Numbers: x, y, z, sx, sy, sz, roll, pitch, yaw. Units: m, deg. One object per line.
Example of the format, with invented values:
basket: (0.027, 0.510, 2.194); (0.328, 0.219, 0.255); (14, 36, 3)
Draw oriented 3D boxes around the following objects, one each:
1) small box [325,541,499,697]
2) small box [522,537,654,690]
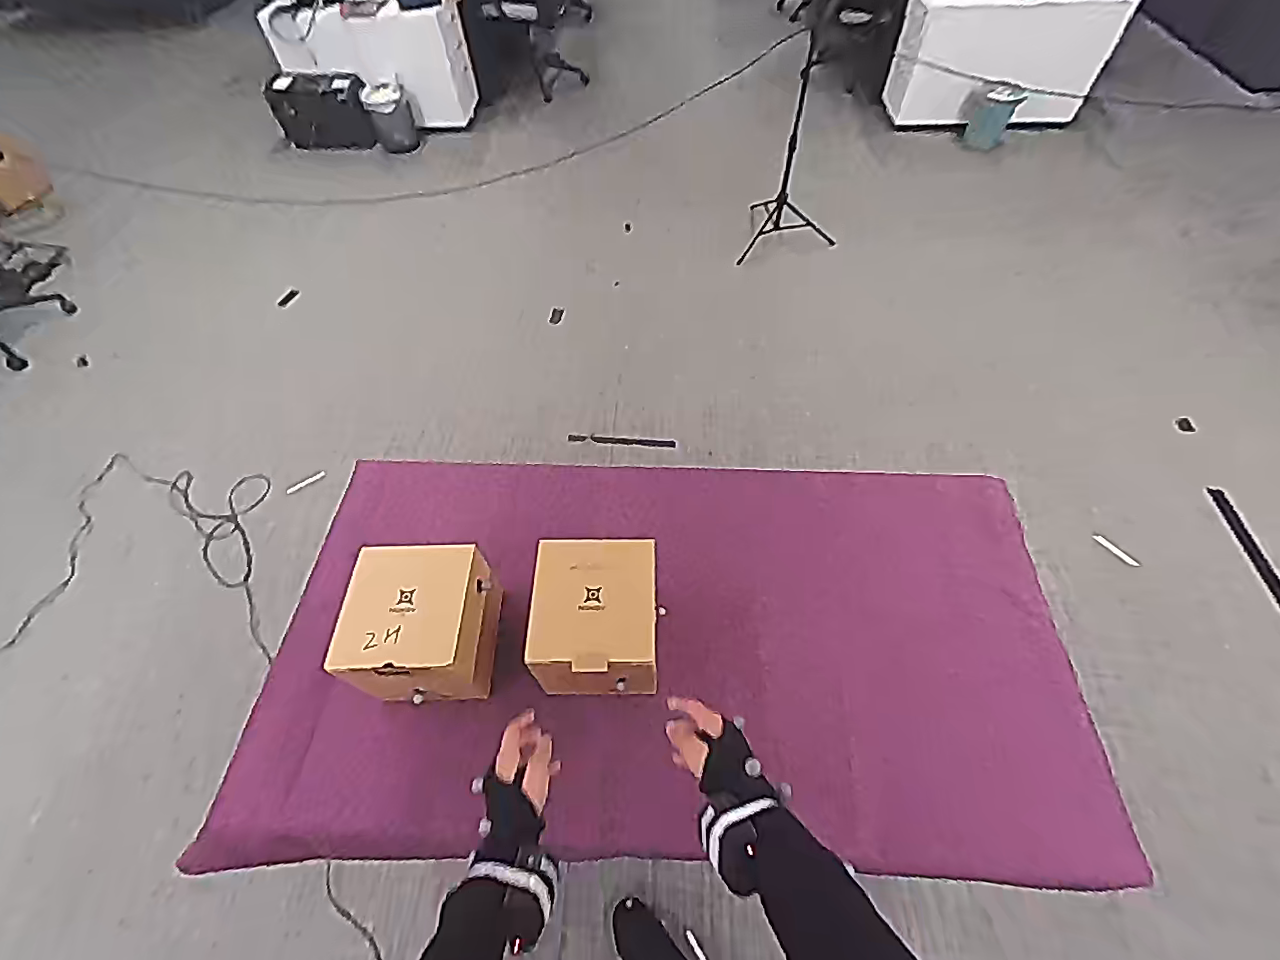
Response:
small box: (-0.314, 0.206, 0.791); (0.168, 0.176, 0.179); (-2, 56, 2)
small box: (-0.064, 0.199, 0.789); (0.168, 0.176, 0.179); (1, 56, 2)
